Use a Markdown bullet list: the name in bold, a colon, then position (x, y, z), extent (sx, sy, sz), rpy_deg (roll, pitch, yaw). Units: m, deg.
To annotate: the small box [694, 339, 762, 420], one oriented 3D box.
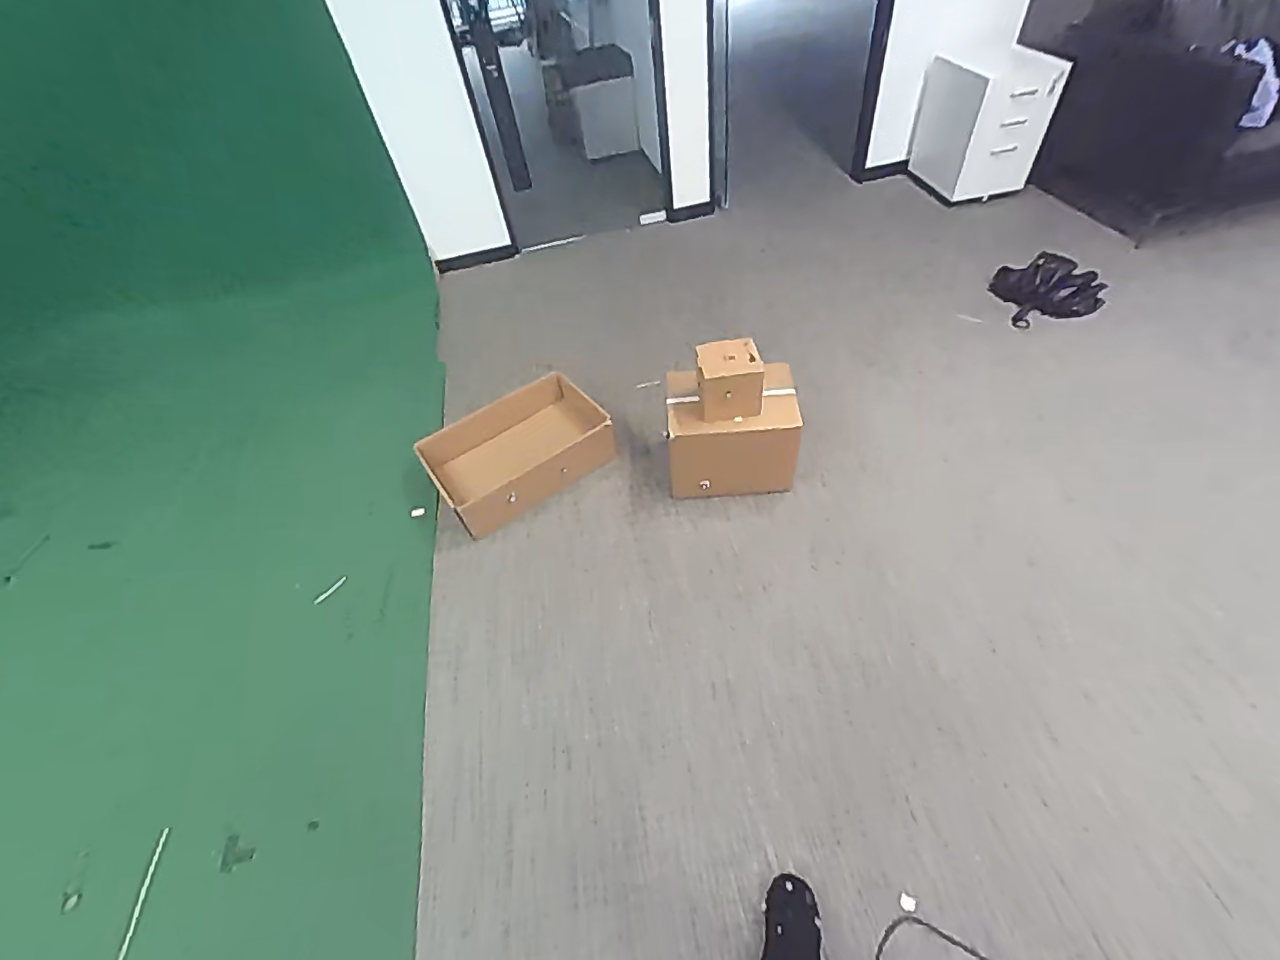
- **small box**: position (0.267, -0.300, 1.637), extent (0.179, 0.176, 0.168), rpy_deg (-9, 49, 2)
